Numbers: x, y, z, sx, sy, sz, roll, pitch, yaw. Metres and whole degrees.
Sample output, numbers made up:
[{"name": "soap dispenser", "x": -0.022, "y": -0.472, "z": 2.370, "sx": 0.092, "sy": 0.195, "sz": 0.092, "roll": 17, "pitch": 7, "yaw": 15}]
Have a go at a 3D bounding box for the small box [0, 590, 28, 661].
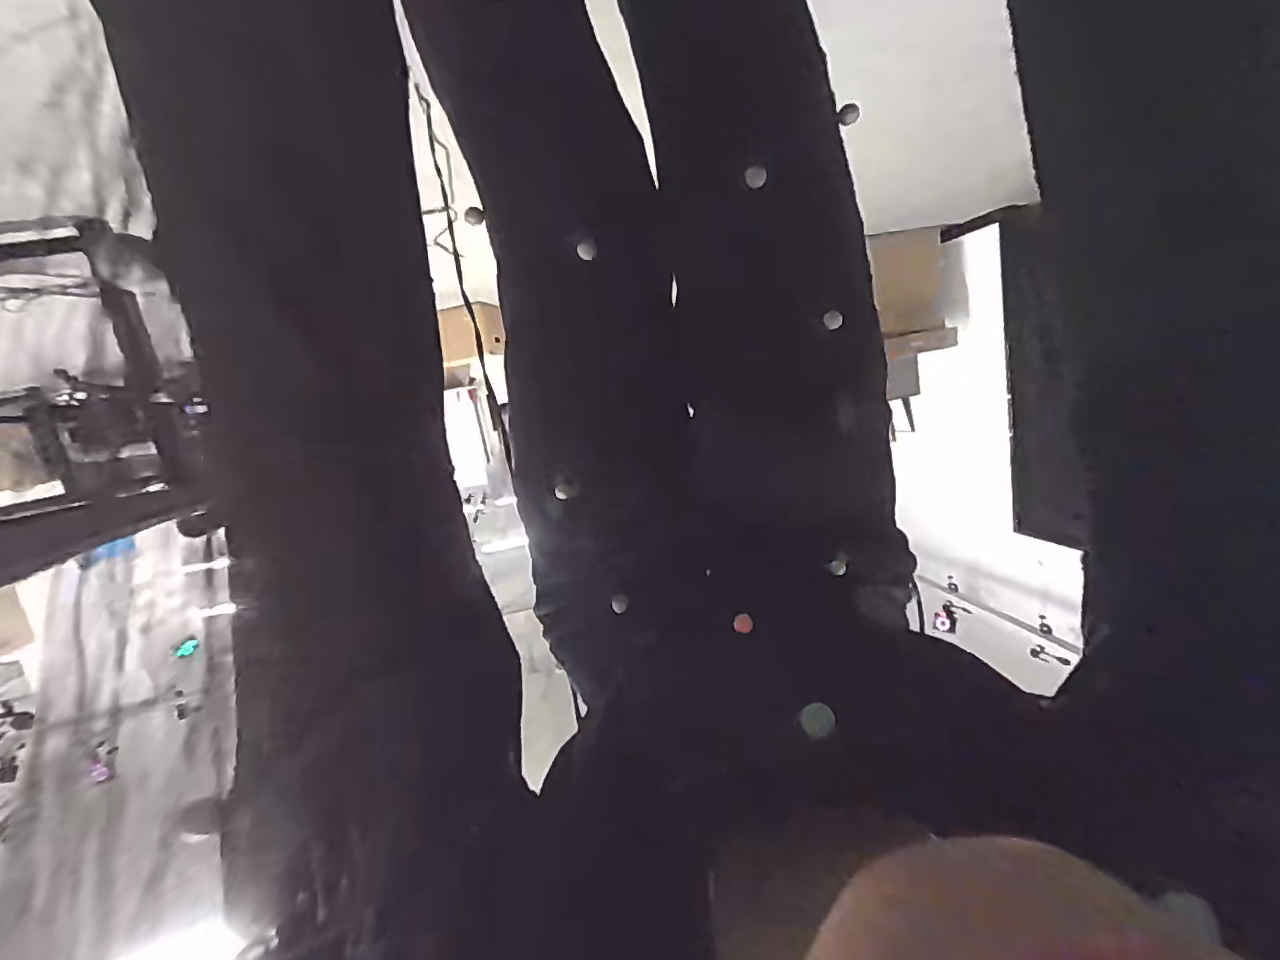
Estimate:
[{"name": "small box", "x": -1.257, "y": 0.271, "z": 0.934, "sx": 0.179, "sy": 0.176, "sz": 0.168, "roll": -11, "pitch": -170, "yaw": -12}]
